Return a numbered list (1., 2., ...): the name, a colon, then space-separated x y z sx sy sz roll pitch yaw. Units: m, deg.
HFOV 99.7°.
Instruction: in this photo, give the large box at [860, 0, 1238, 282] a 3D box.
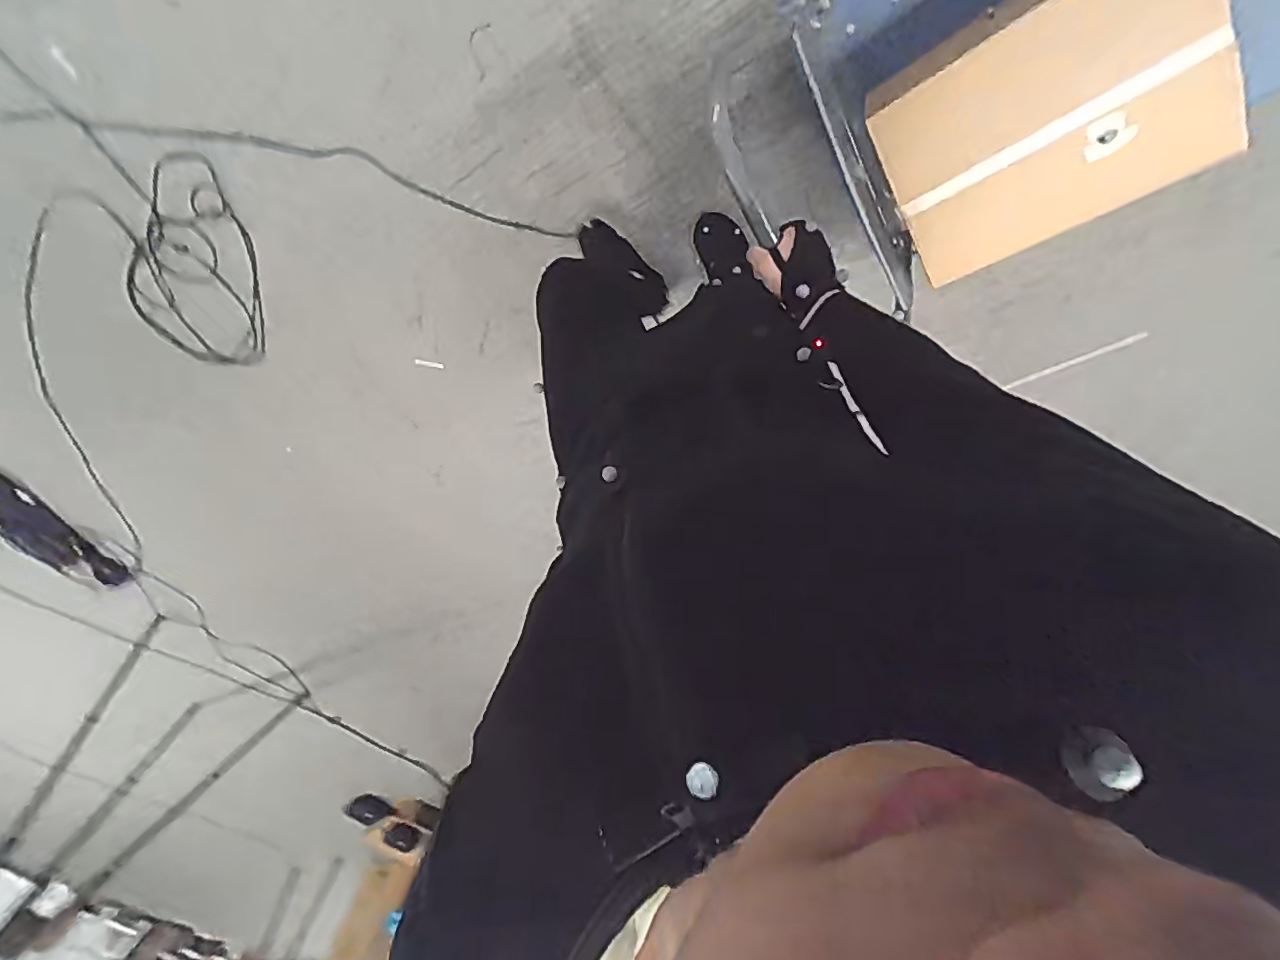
1. large box: 0.627 -0.612 0.903 0.408 0.320 0.320 -21 120 35
